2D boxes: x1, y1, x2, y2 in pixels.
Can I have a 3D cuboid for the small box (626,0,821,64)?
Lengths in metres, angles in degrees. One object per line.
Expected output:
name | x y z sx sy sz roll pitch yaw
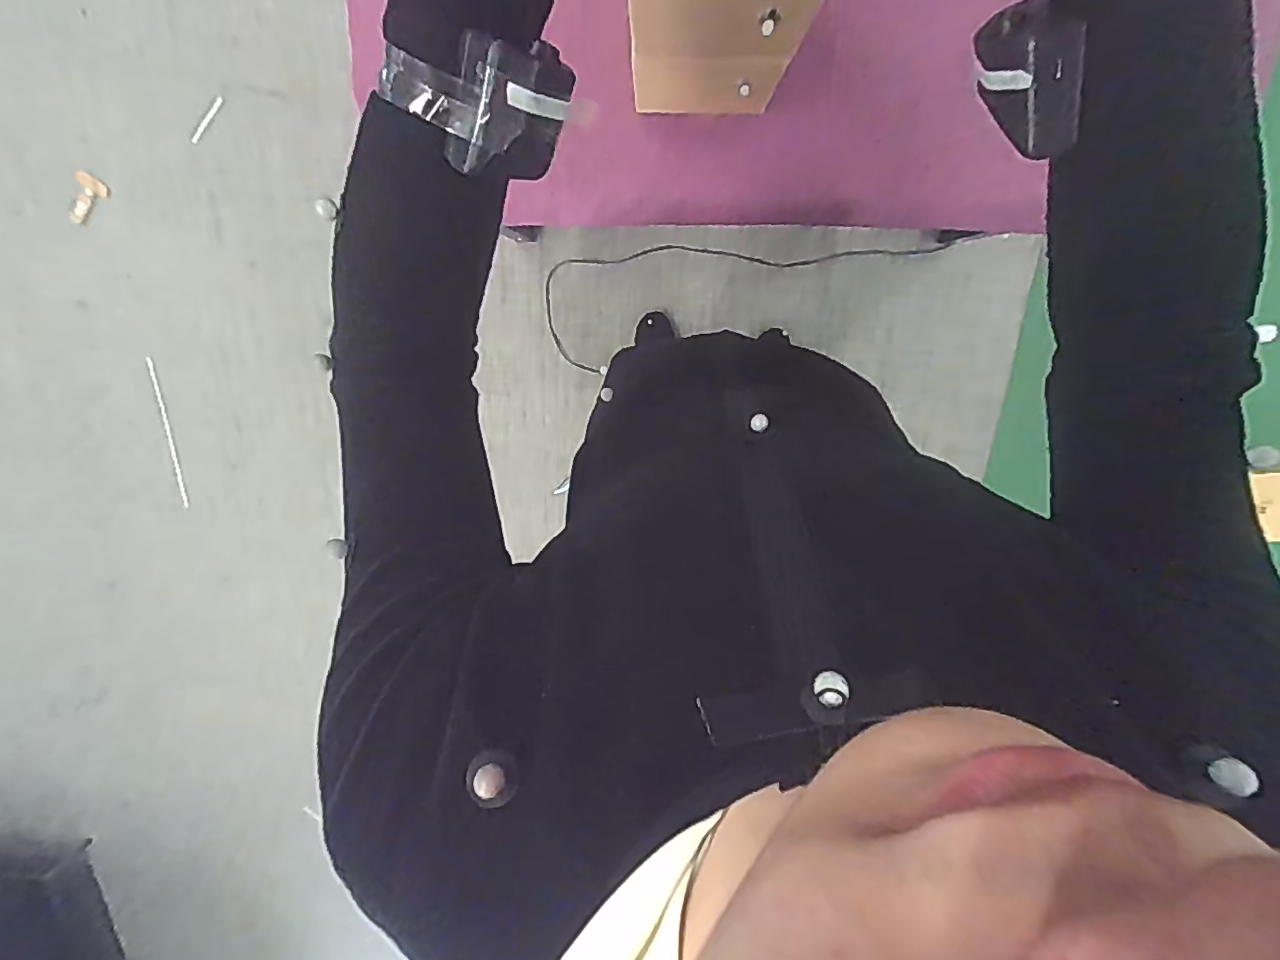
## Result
small box | 0.077 -0.507 0.486 0.179 0.176 0.168 2 107 2
